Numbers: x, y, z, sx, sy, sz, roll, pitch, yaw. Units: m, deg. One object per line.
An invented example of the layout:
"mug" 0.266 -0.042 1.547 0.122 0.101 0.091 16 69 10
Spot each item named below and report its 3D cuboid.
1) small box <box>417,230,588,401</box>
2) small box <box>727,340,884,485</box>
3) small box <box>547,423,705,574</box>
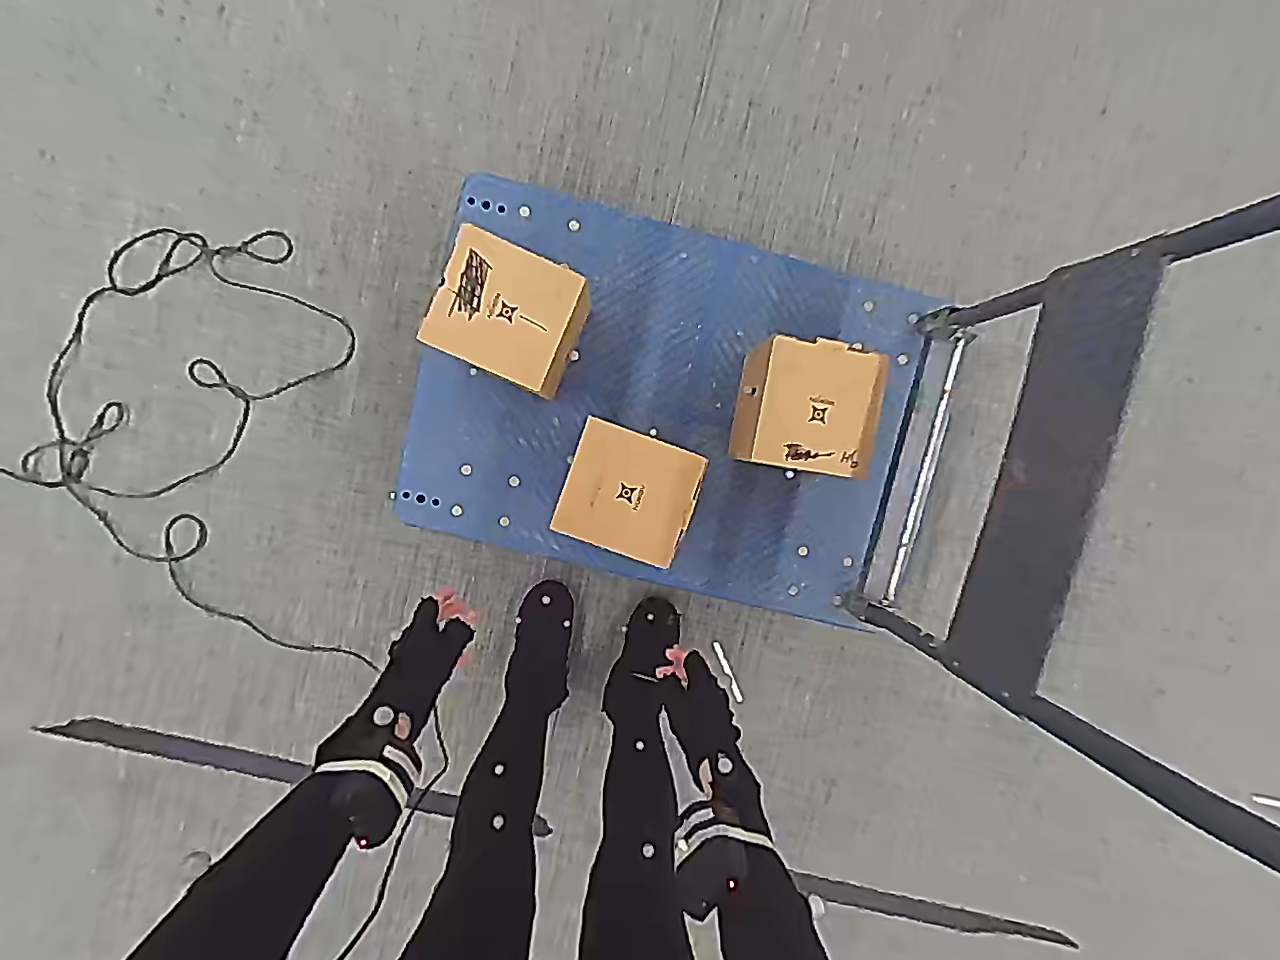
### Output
"small box" -0.187 -0.224 0.790 0.179 0.176 0.168 23 93 -5
"small box" 0.238 -0.095 0.820 0.168 0.176 0.179 10 92 -3
"small box" -0.021 0.022 0.817 0.179 0.176 0.168 20 91 -2
